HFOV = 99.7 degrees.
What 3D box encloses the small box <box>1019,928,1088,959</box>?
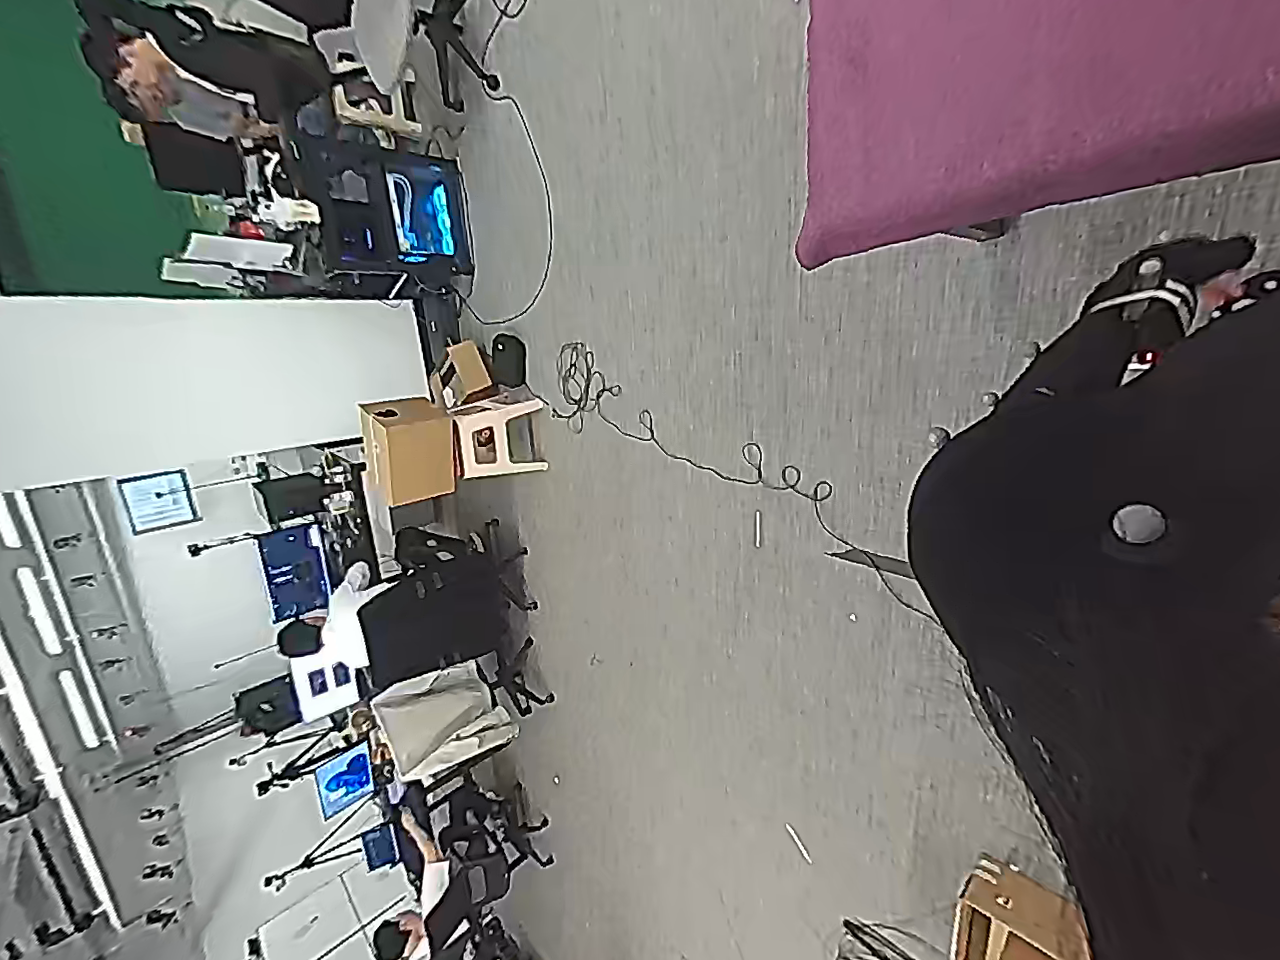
[{"bbox_3d":[1.108,1.360,1.434,0.179,0.176,0.168,12,111,44],"label":"small box"}]
